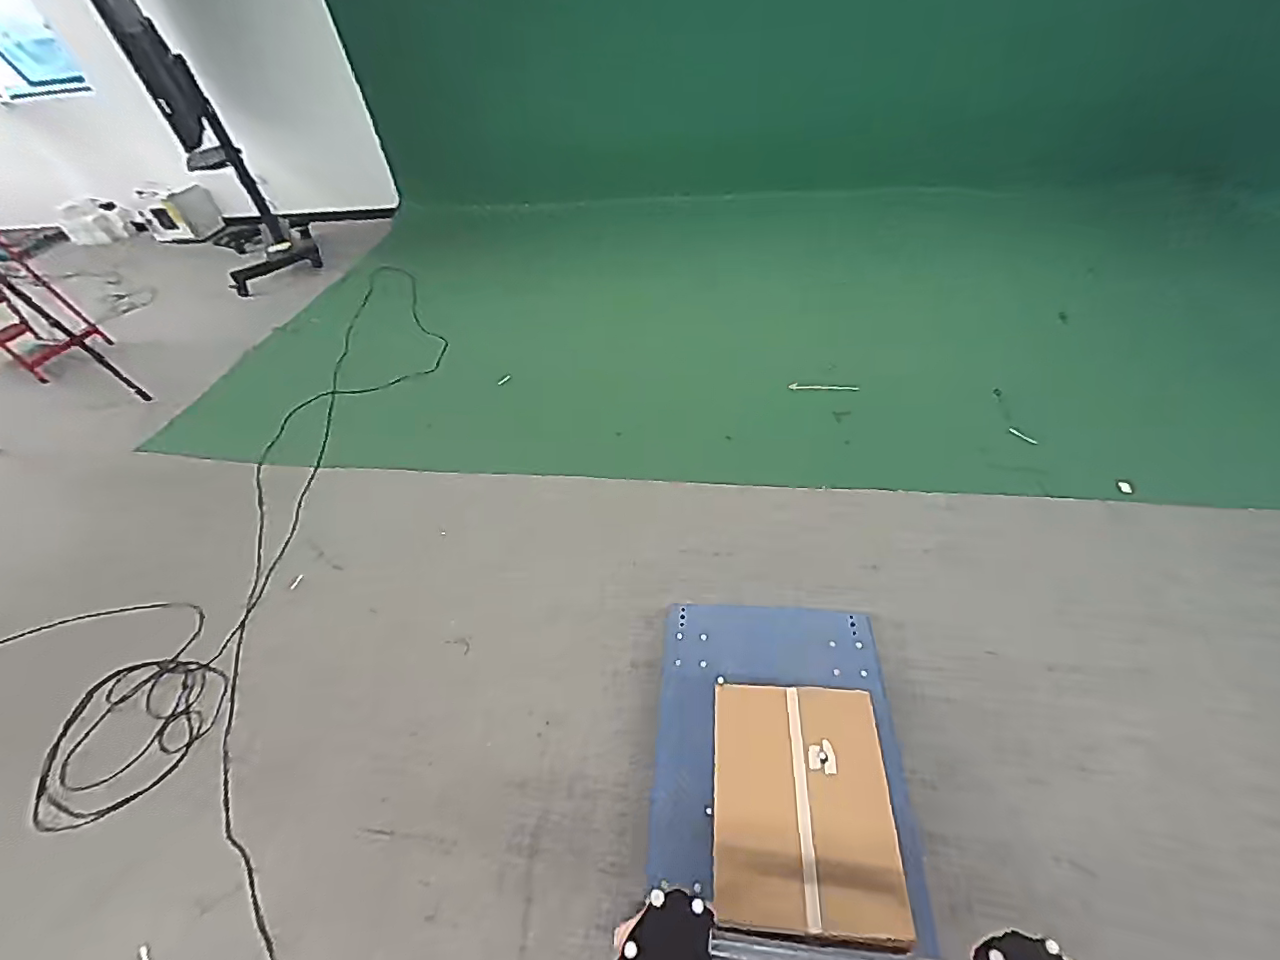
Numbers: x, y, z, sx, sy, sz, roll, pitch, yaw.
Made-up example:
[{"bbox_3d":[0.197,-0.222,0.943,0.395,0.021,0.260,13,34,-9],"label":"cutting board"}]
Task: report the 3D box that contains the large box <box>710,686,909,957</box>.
[{"bbox_3d":[0.306,0.687,1.105,0.320,0.320,0.408,0,45,8],"label":"large box"}]
